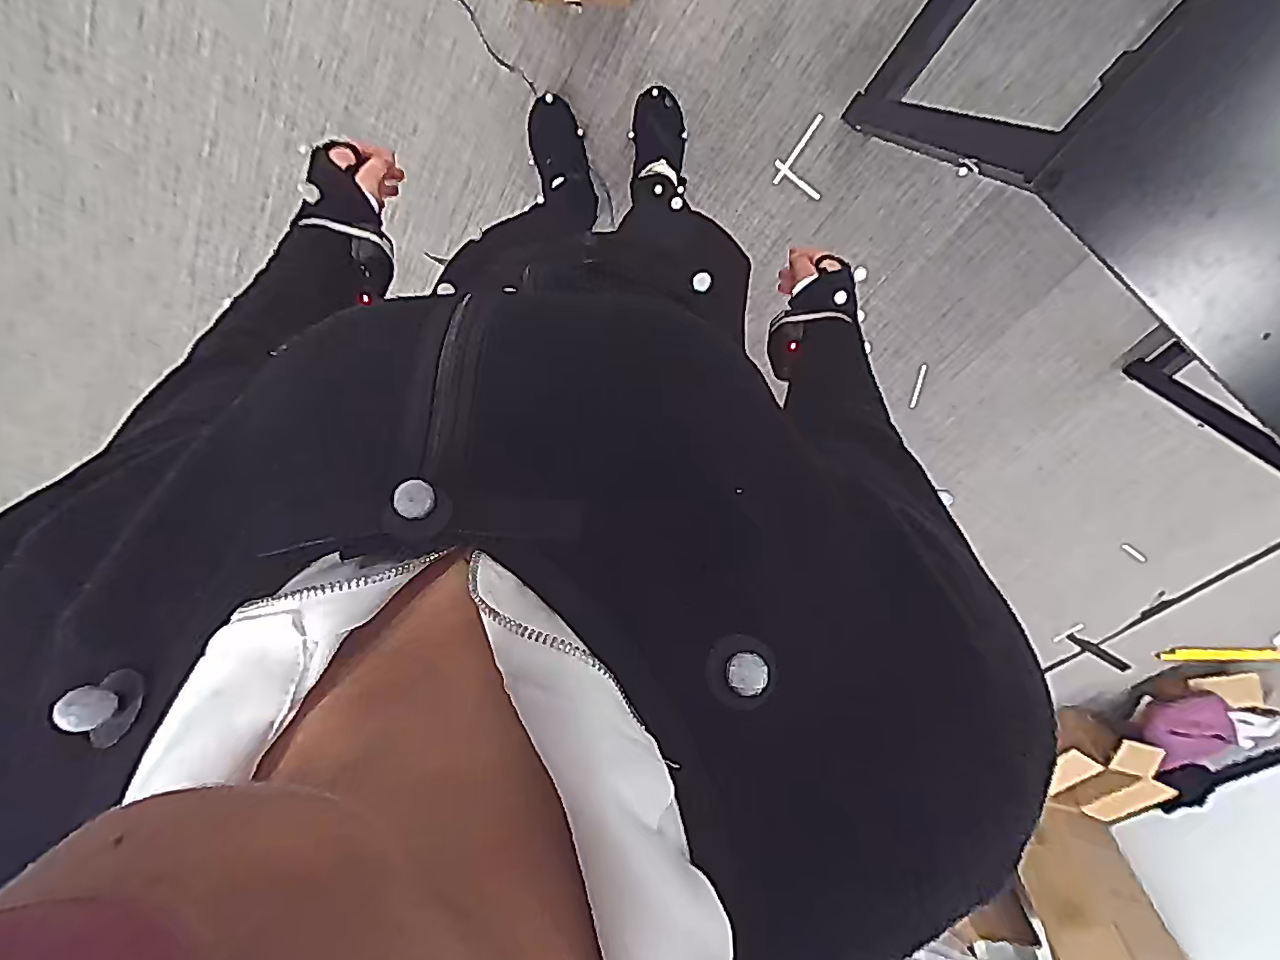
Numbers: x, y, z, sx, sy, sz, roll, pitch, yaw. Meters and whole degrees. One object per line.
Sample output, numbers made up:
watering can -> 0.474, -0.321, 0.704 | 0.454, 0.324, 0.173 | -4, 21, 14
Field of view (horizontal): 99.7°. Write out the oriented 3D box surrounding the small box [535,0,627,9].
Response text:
small box -> -0.101, -0.931, 0.928 | 0.168, 0.176, 0.179 | 0, 128, -2

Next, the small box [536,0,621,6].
small box -> -0.100, -0.829, 0.802 | 0.168, 0.176, 0.179 | -3, 129, 2
